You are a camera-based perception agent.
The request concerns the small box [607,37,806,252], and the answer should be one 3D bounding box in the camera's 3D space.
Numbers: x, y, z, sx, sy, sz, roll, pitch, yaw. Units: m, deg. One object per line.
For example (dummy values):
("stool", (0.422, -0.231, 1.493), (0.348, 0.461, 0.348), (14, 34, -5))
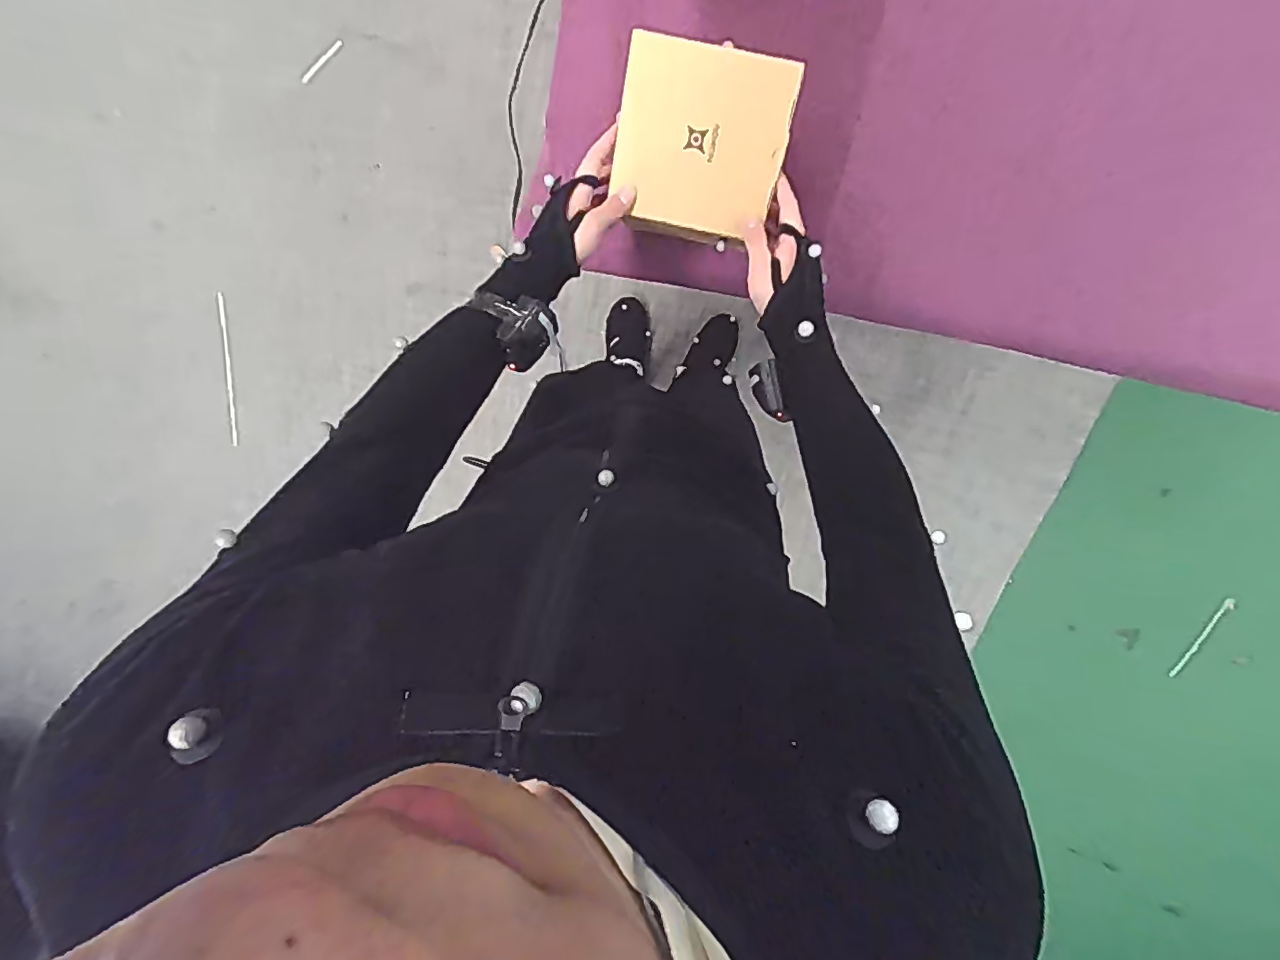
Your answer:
("small box", (0.070, -0.372, 0.634), (0.179, 0.176, 0.168), (12, 110, 0))
